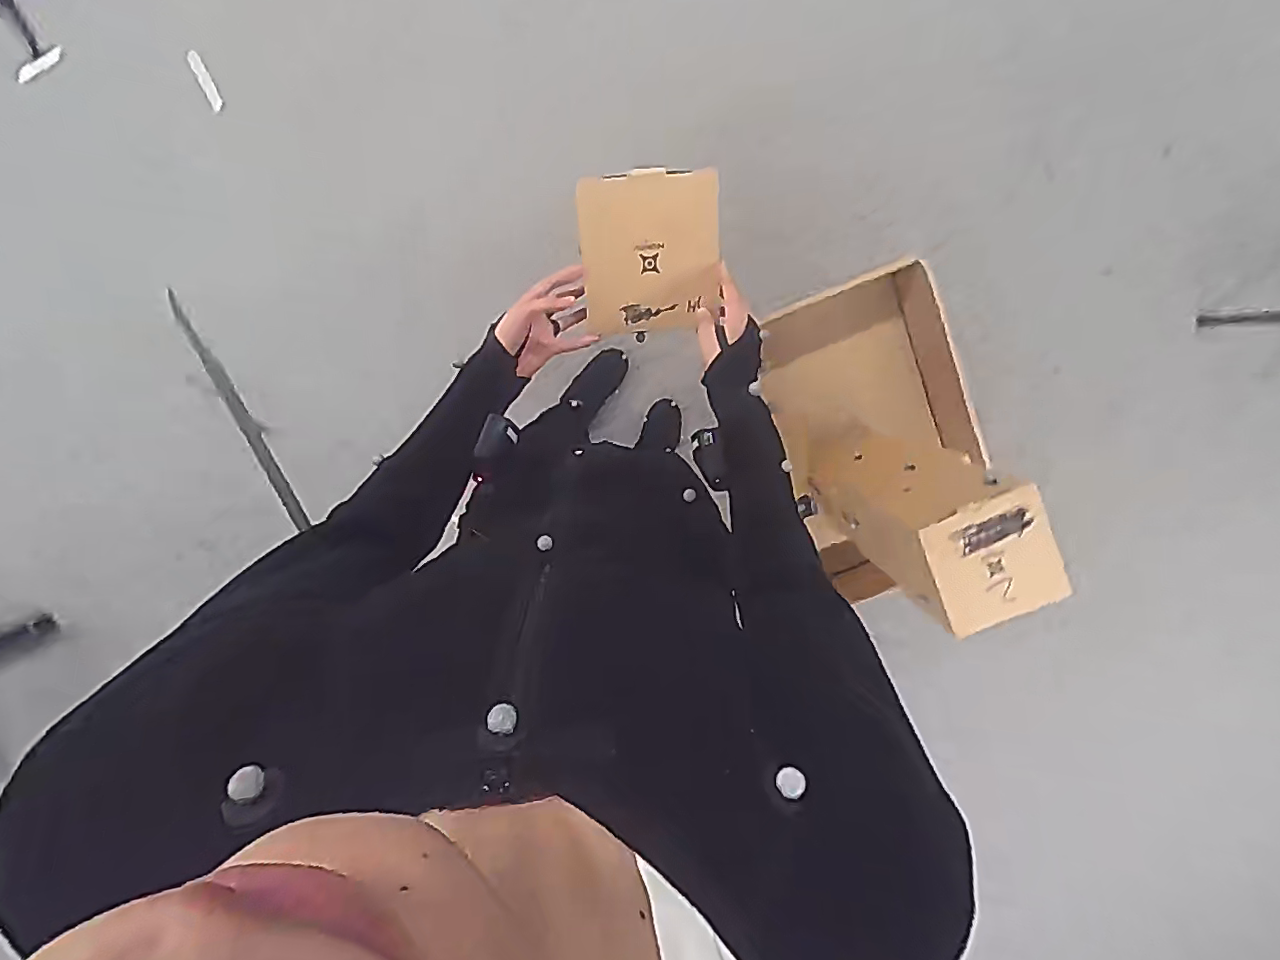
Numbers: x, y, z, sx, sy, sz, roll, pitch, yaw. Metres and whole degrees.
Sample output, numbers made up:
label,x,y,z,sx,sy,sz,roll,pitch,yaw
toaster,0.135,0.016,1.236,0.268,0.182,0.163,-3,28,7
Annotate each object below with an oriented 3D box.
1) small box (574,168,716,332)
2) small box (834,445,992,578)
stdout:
label,x,y,z,sx,sy,sz,roll,pitch,yaw
small box,0.010,-0.294,0.717,0.168,0.176,0.179,-3,110,3
small box,0.479,0.047,0.972,0.179,0.176,0.168,-23,99,6
